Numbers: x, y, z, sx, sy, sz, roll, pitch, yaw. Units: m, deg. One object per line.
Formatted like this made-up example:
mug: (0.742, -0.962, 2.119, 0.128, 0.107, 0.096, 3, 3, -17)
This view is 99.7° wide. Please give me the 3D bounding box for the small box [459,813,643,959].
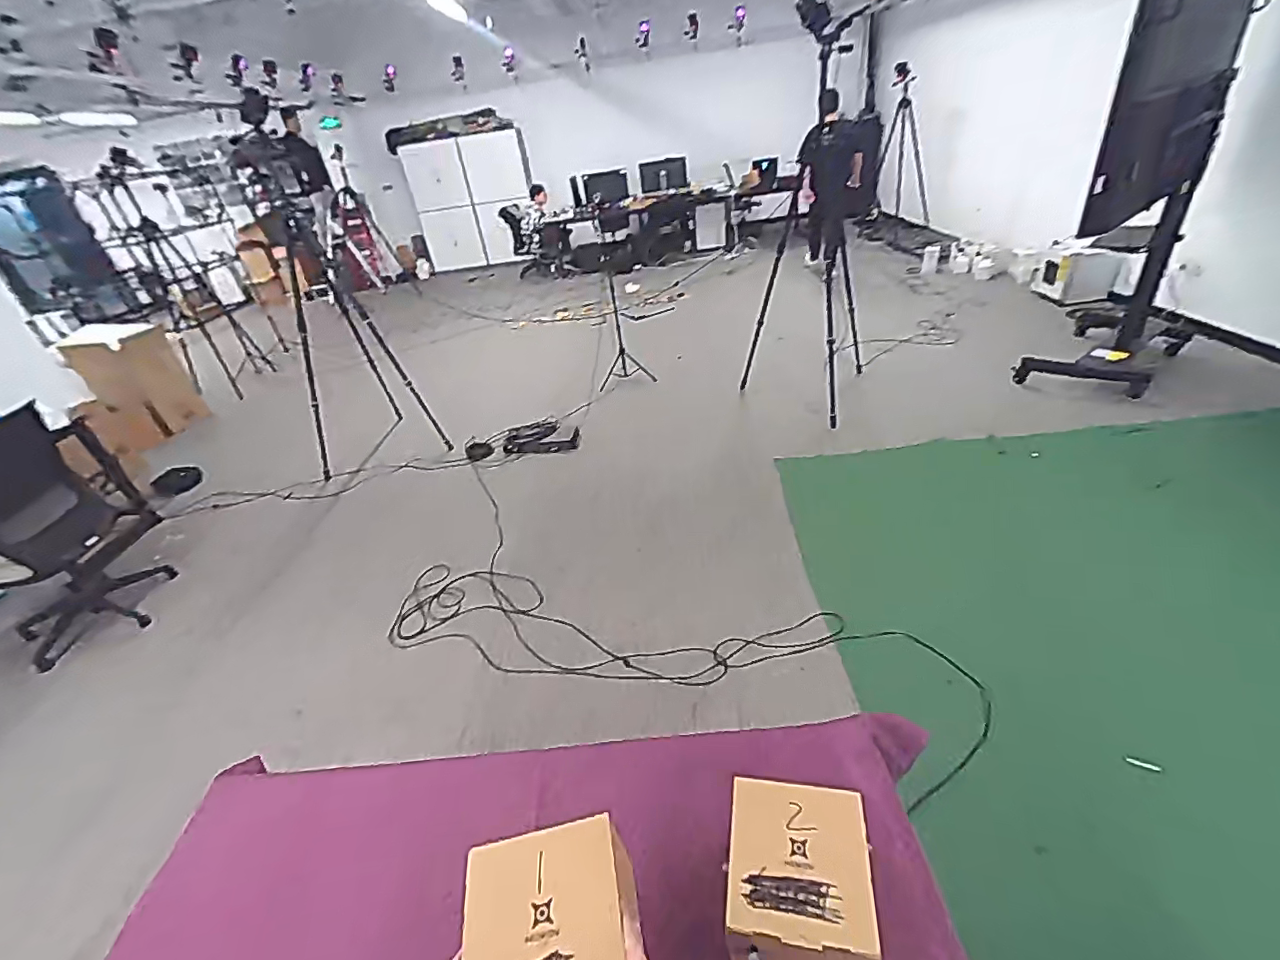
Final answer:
small box: (-0.090, 0.513, 0.598, 0.168, 0.176, 0.179, -13, 37, -3)
